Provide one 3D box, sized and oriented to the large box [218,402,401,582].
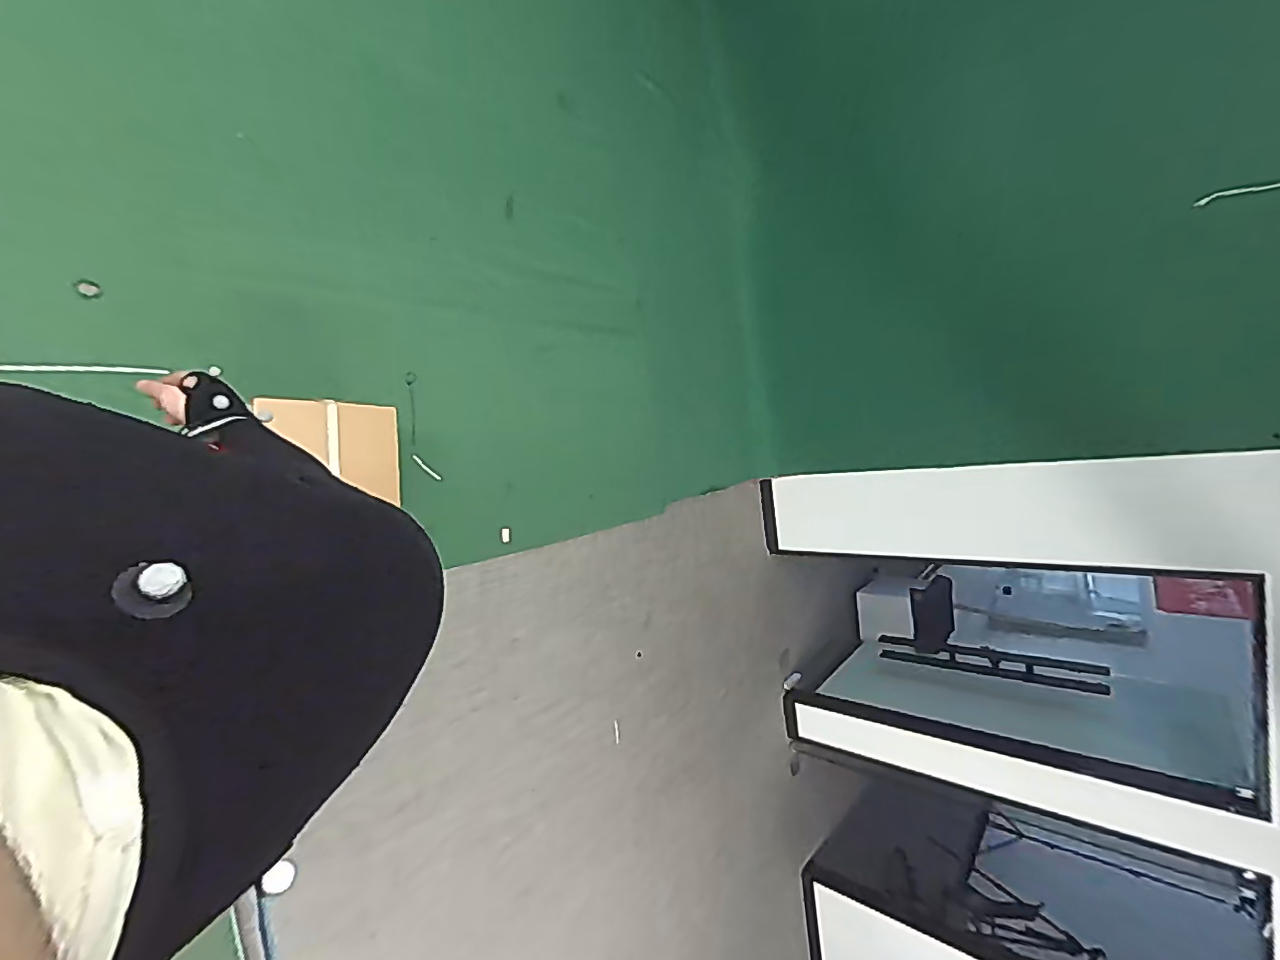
[{"bbox_3d":[-0.844,0.023,1.382,0.320,0.320,0.408,-3,90,-48],"label":"large box"}]
